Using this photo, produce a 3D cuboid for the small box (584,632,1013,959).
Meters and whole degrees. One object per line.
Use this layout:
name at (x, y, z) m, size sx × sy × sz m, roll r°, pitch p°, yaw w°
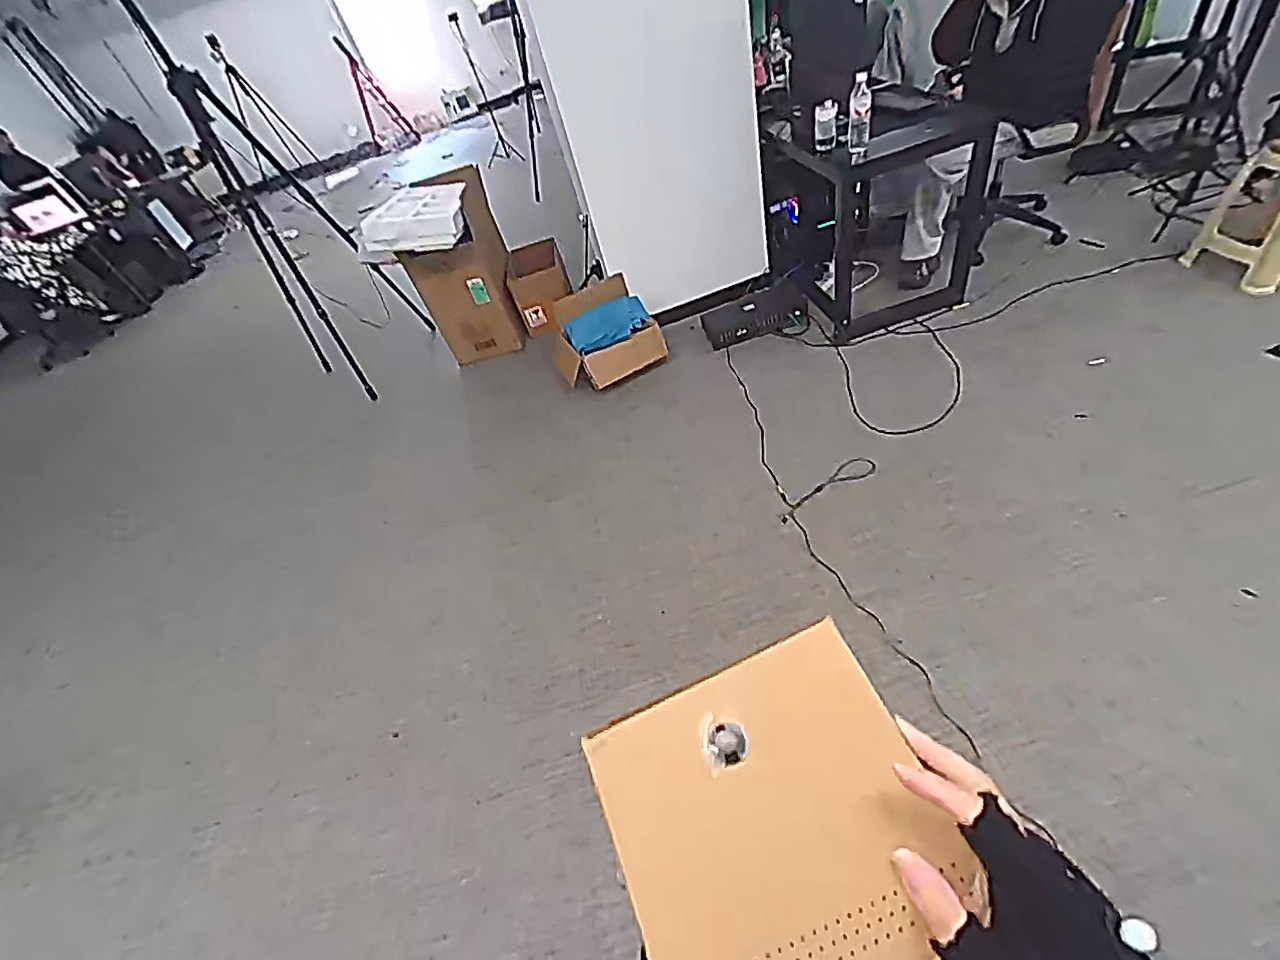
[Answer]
small box at (0.090, 0.233, 0.360) m, size 0.179 × 0.168 × 0.176 m, roll -26°, pitch 57°, yaw -1°
